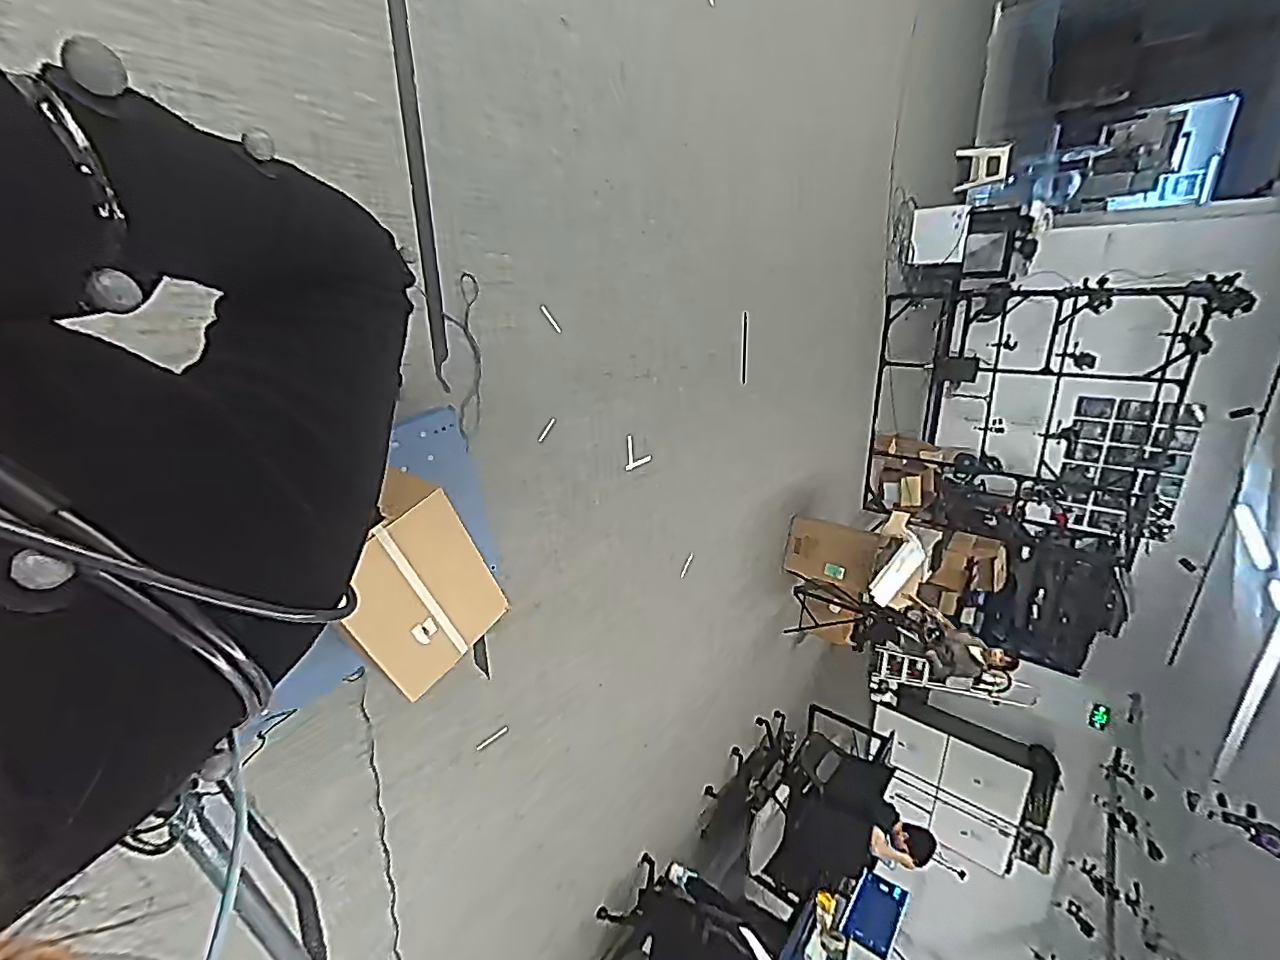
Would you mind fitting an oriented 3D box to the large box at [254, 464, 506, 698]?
[{"bbox_3d":[-0.597,0.226,1.284,0.320,0.320,0.408,-44,133,-34],"label":"large box"}]
